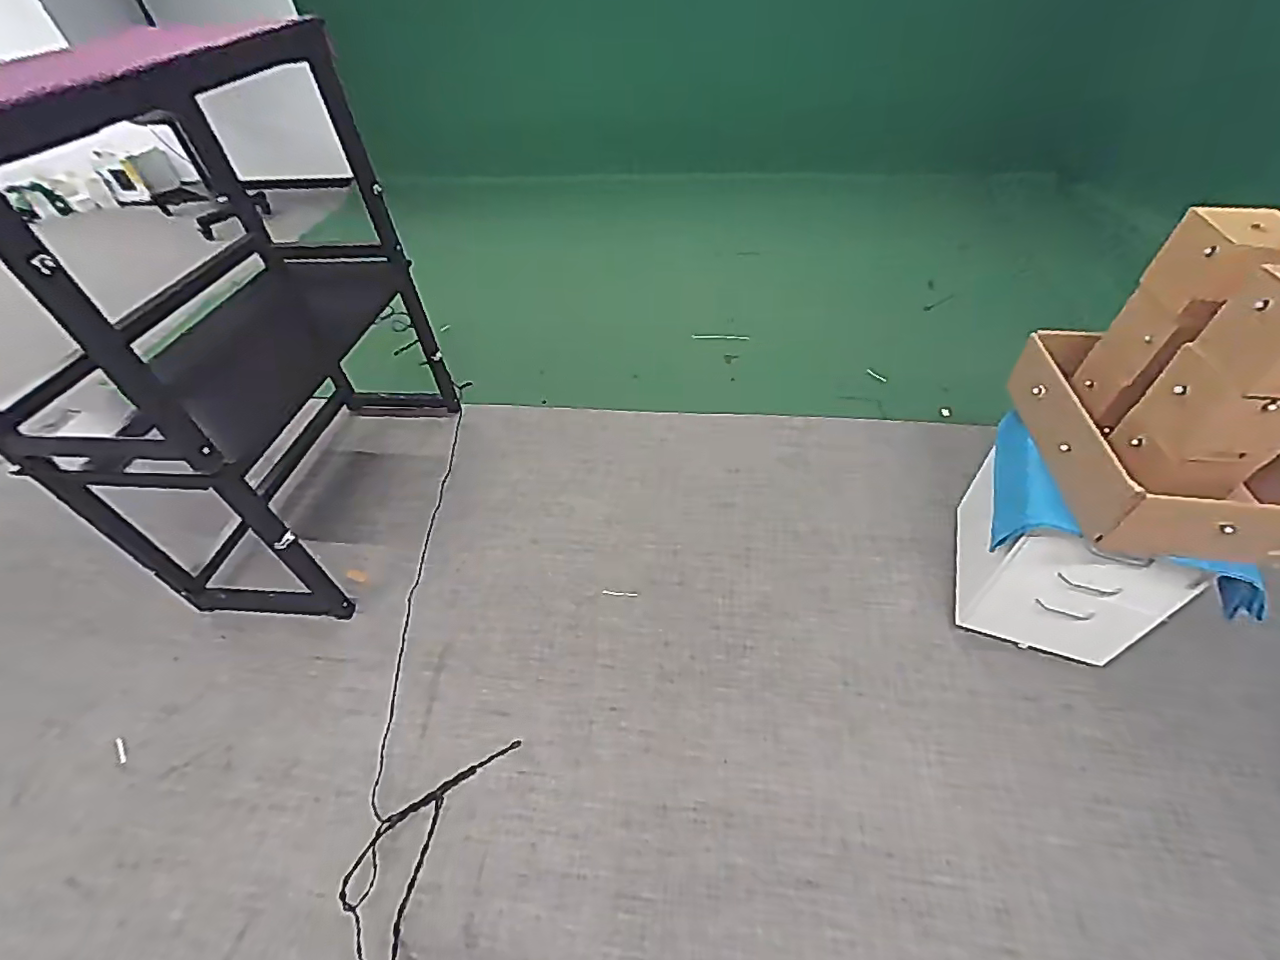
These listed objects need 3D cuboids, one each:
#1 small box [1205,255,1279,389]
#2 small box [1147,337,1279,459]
[{"bbox_3d":[1.170,-0.272,0.944,0.168,0.176,0.179,5,47,9],"label":"small box"},{"bbox_3d":[1.173,-0.163,1.068,0.168,0.176,0.179,3,45,8],"label":"small box"}]
